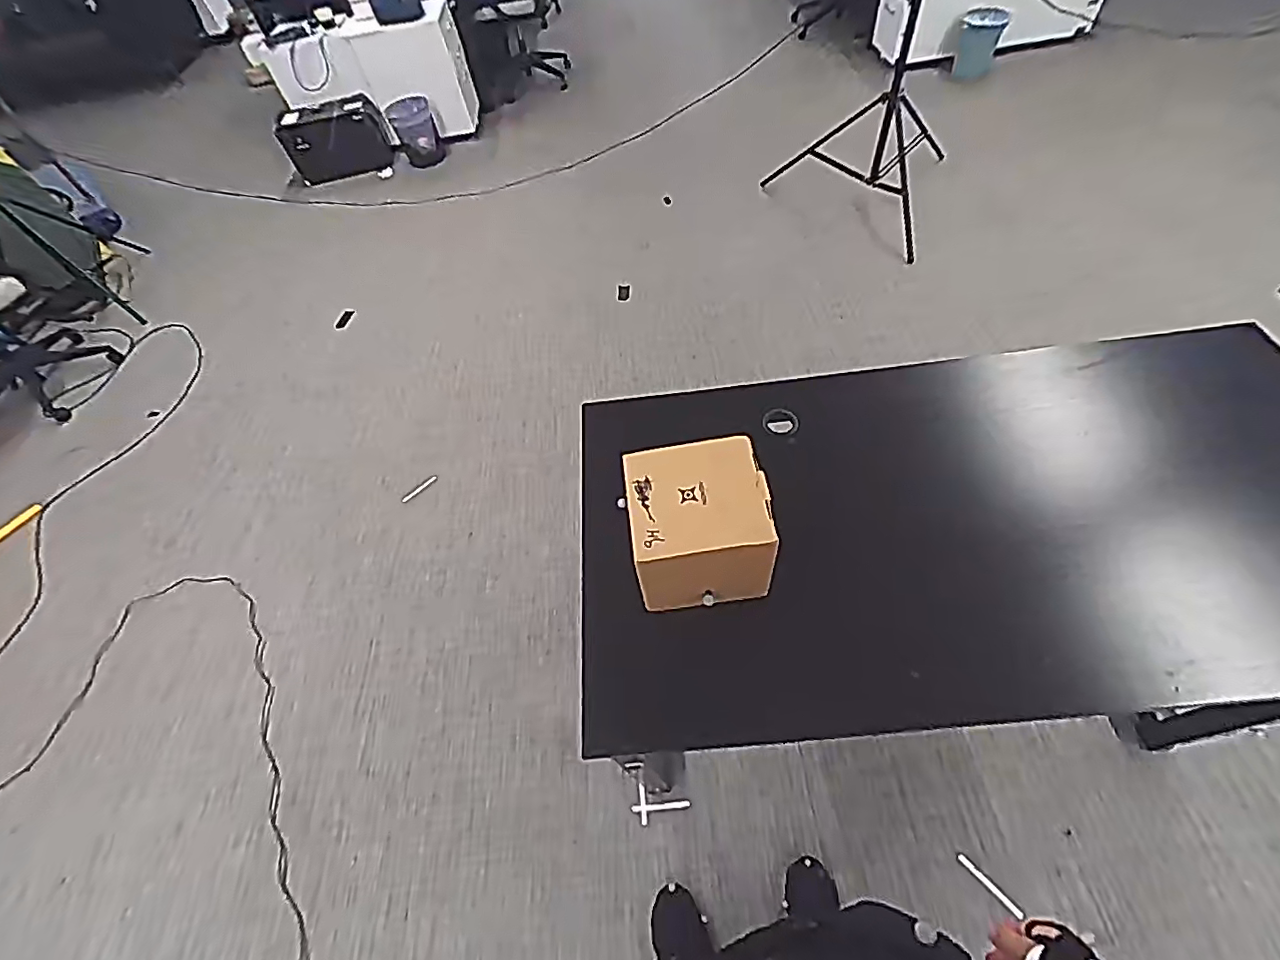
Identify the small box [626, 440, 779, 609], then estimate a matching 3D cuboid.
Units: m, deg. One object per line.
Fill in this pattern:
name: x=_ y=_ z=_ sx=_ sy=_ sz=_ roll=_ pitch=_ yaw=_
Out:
small box: x=0.079 y=0.066 z=0.757 sx=0.179 sy=0.176 sz=0.168 roll=-8 pitch=55 yaw=1
